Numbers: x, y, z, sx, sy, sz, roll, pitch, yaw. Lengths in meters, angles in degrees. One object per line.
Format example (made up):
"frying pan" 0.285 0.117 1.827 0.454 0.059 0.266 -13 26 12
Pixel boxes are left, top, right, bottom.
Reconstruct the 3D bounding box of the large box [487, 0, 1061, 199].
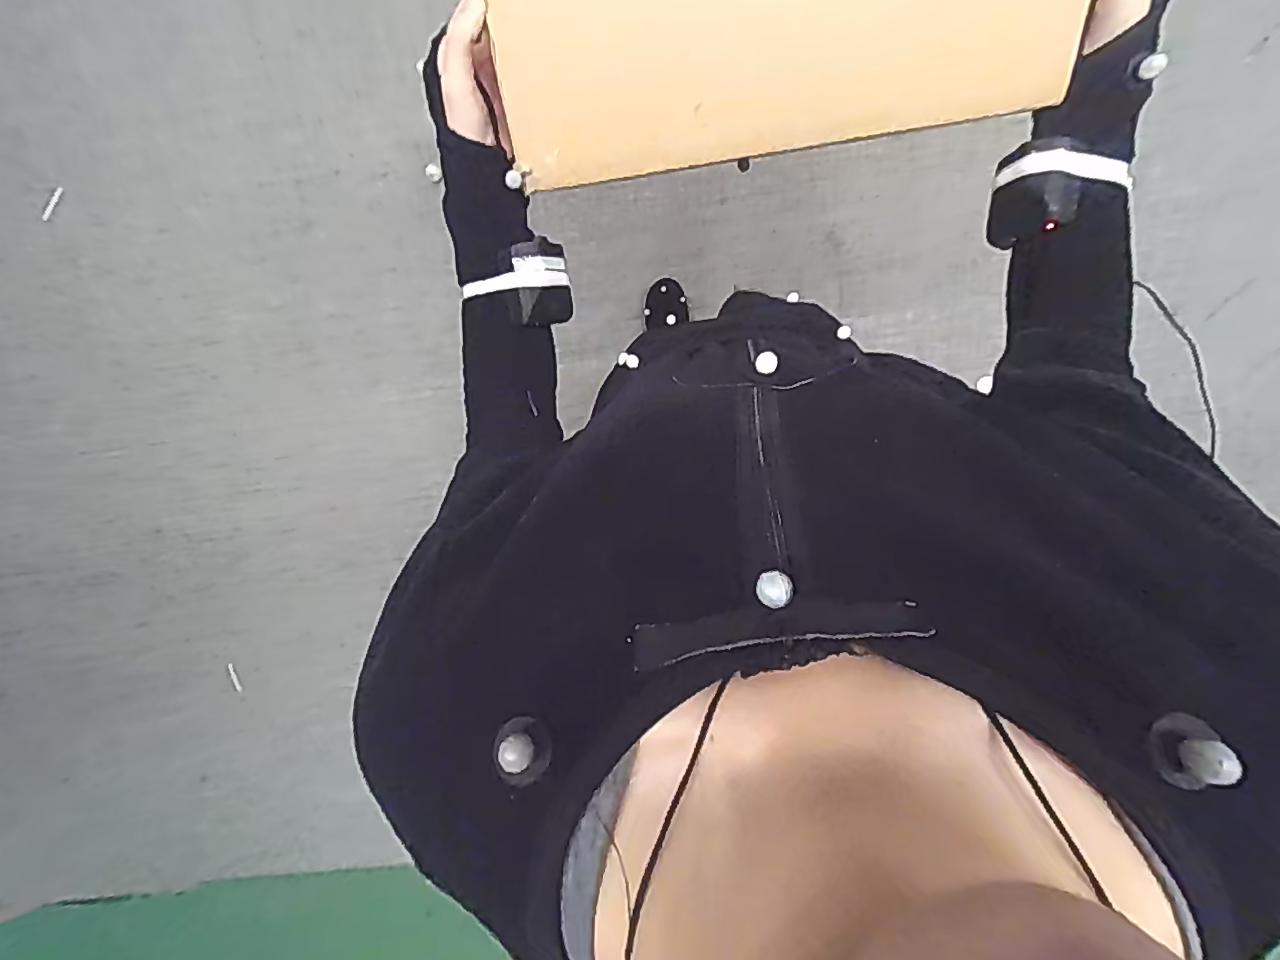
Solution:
"large box" 0.083 -0.460 0.468 0.408 0.320 0.320 -8 121 3
